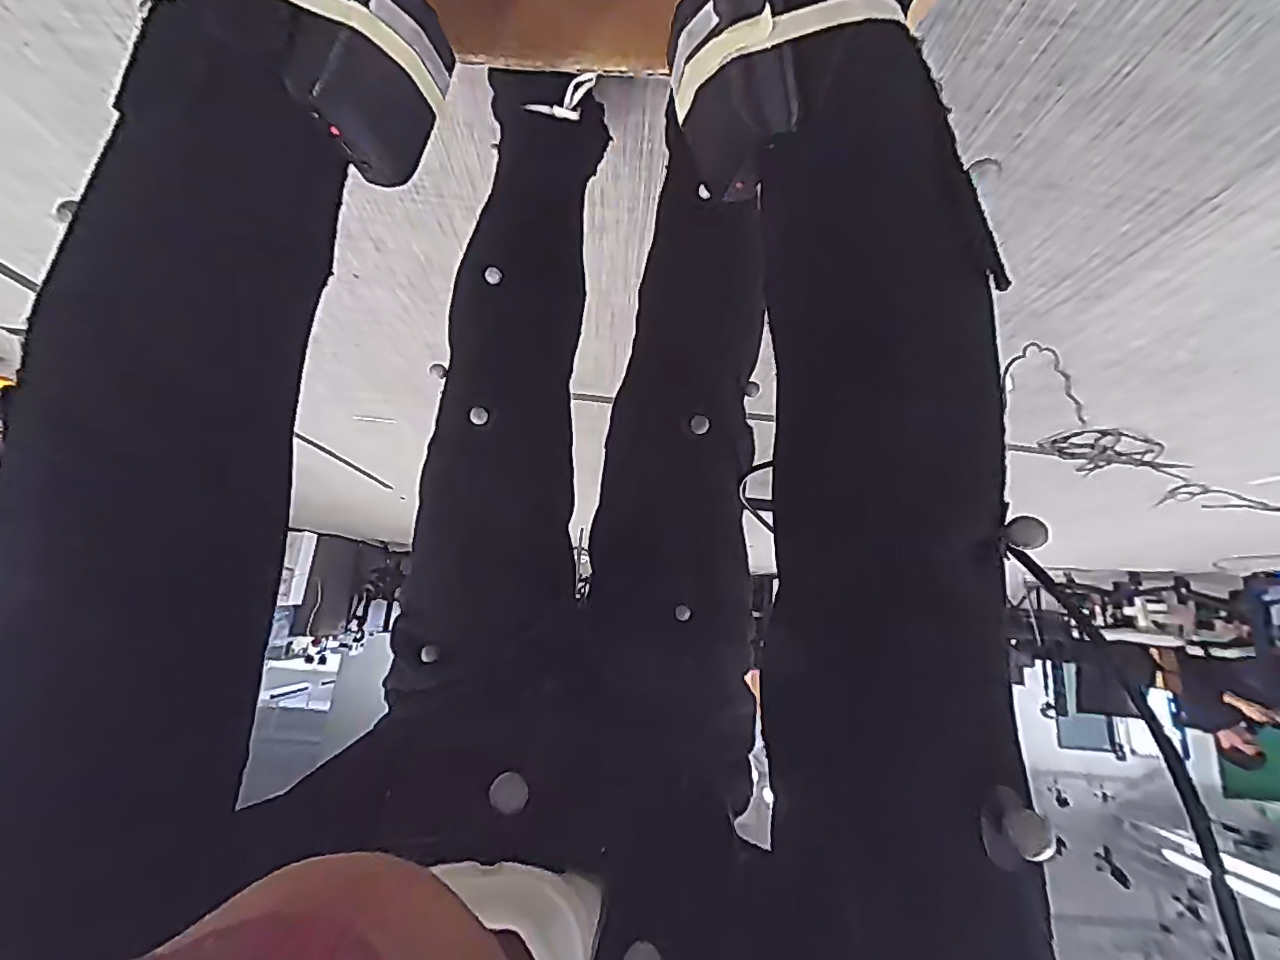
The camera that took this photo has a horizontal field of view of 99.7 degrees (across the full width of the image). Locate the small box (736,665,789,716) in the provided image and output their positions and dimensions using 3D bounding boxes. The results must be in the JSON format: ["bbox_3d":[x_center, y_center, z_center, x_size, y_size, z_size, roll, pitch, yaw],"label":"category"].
[{"bbox_3d":[0.500,0.845,2.193,0.168,0.176,0.179,6,166,-6],"label":"small box"}]
